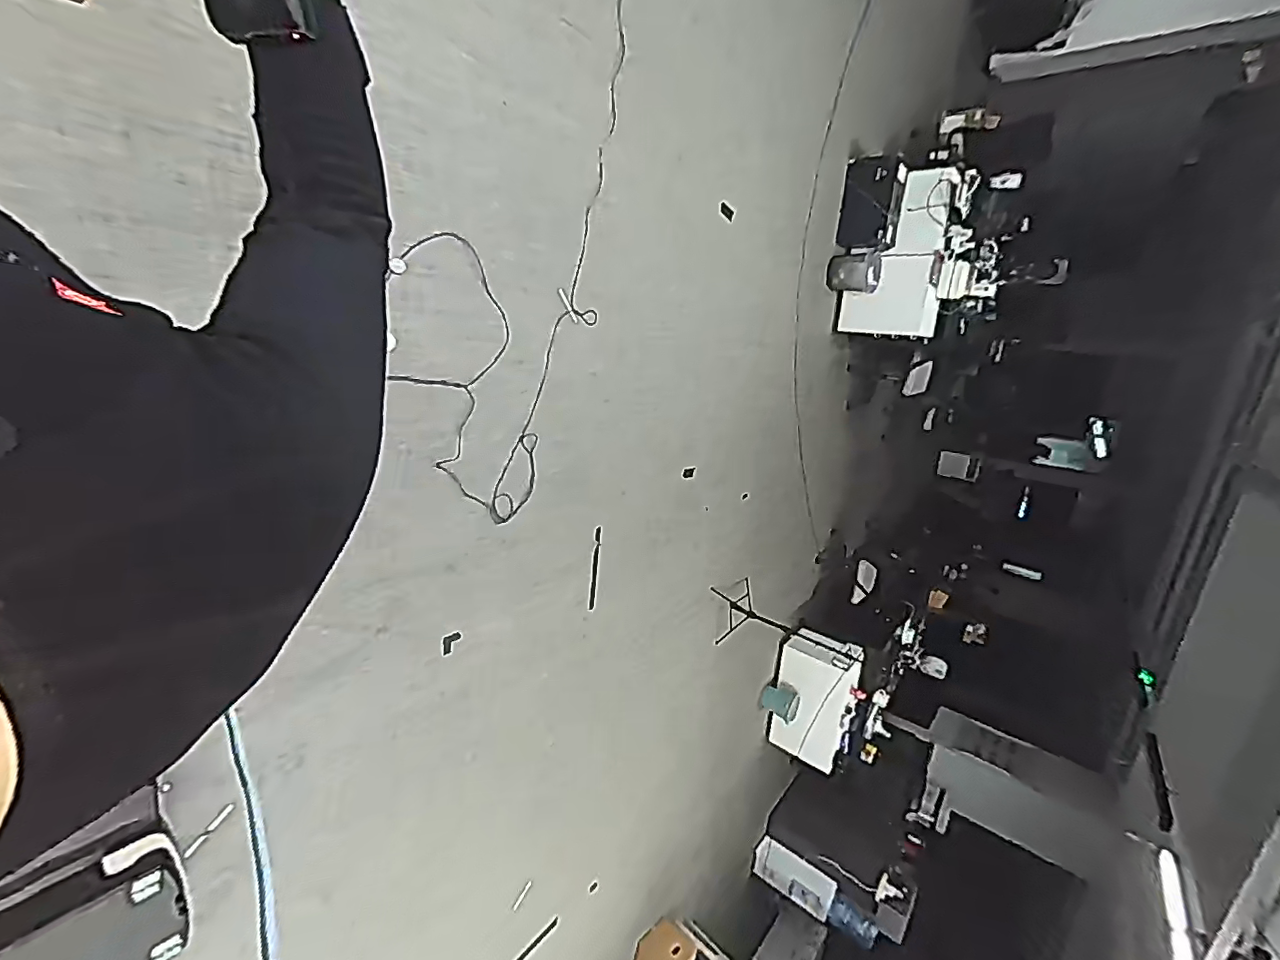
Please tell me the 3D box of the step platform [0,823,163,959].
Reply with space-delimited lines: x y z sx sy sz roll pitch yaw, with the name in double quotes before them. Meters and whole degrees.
"step platform" -1.347 1.002 1.010 0.684 0.204 0.286 -16 116 -48
